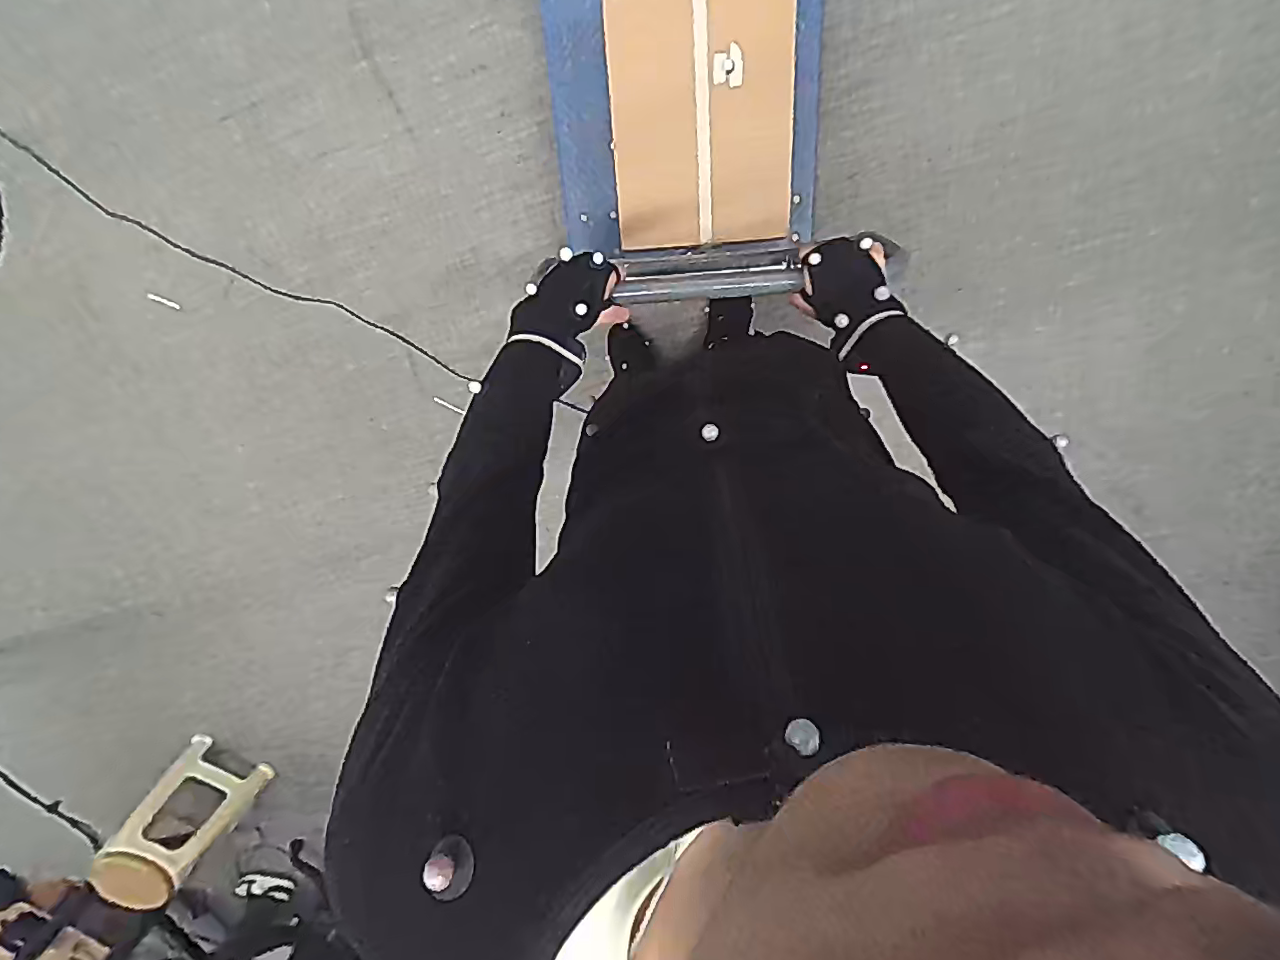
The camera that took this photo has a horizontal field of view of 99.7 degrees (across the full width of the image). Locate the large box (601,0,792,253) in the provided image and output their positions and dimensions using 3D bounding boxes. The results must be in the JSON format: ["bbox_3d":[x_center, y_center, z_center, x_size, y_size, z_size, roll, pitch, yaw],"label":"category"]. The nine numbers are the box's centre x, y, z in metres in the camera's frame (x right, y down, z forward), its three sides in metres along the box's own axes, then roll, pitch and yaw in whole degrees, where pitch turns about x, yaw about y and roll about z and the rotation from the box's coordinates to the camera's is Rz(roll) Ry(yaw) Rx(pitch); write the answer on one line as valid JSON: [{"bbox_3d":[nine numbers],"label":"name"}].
[{"bbox_3d":[0.113,-0.682,1.070,0.320,0.320,0.408,-3,112,4],"label":"large box"}]
